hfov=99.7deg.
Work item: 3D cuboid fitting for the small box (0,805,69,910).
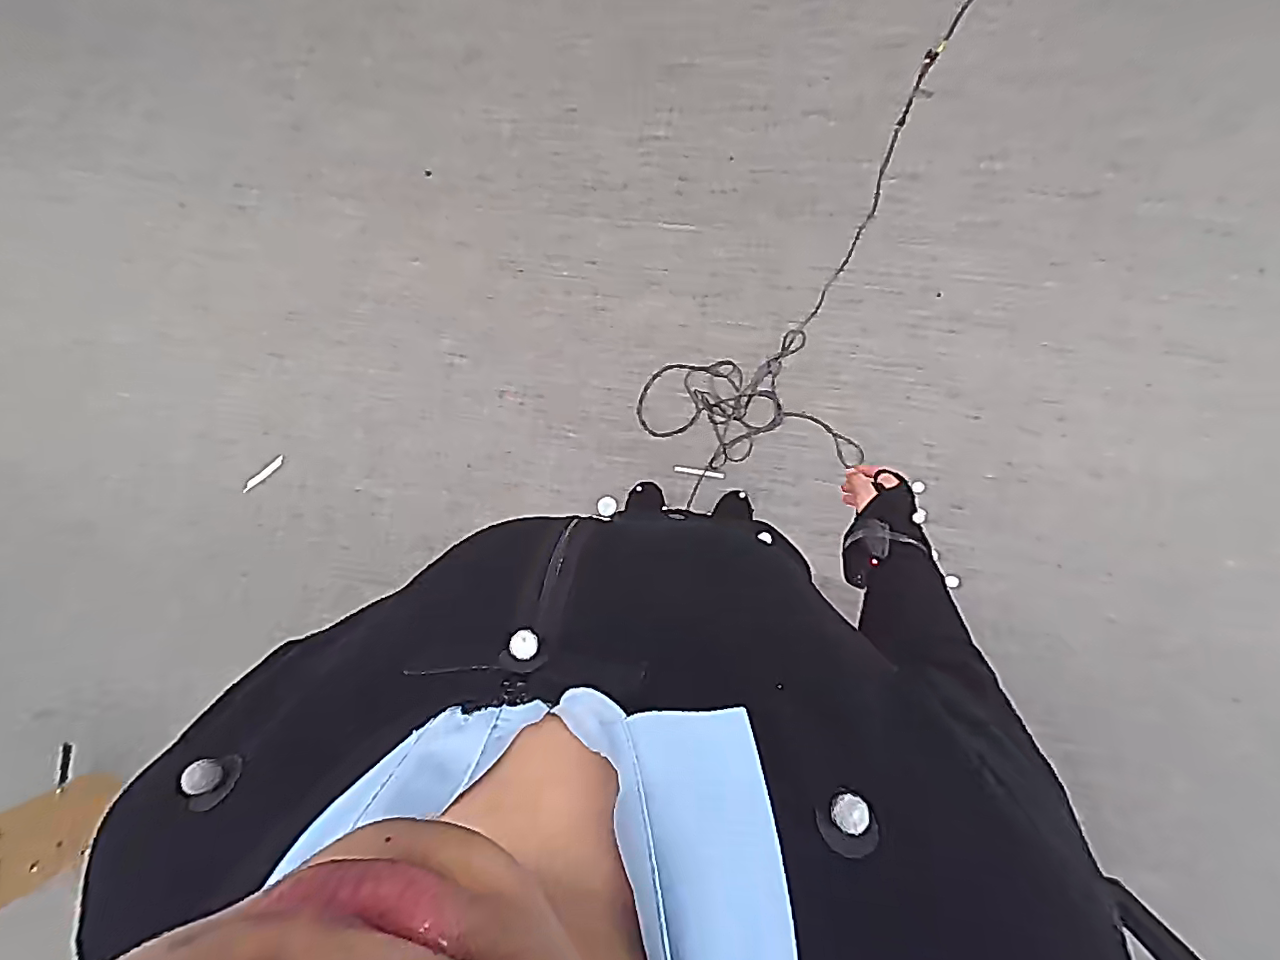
[{"bbox_3d":[-1.715,1.018,1.460,0.179,0.176,0.168,13,91,8],"label":"small box"}]
